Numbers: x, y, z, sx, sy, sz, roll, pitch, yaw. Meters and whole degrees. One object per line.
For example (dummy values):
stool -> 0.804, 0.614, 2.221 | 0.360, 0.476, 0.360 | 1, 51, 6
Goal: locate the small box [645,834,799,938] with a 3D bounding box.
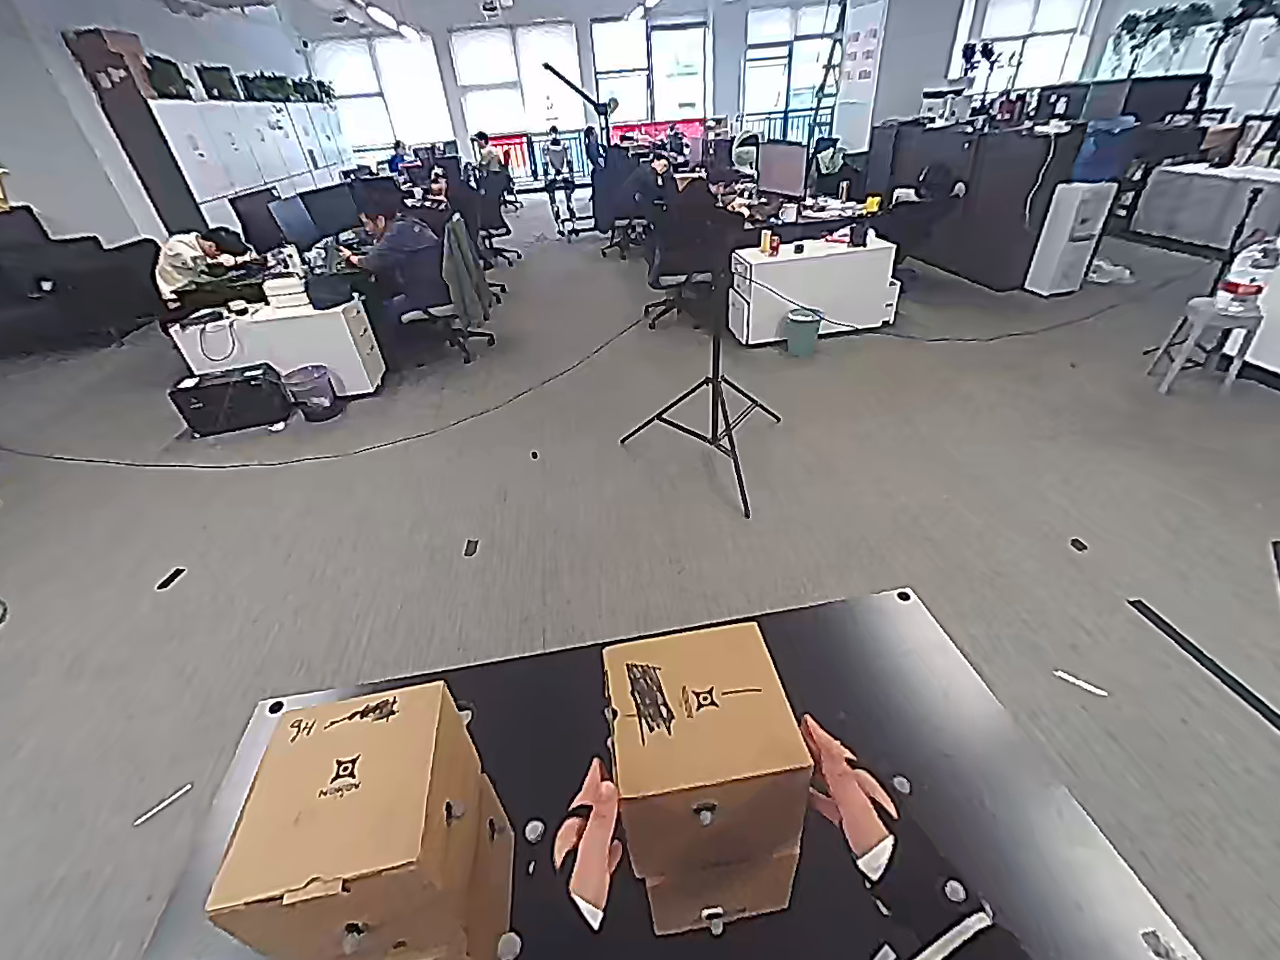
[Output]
small box -> 0.080, 0.421, 0.673 | 0.168, 0.176, 0.179 | -10, 36, -5

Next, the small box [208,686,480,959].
small box -> -0.263, 0.342, 0.537 | 0.168, 0.176, 0.179 | -9, 36, -6

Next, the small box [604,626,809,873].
small box -> 0.063, 0.286, 0.579 | 0.179, 0.176, 0.168 | -8, 35, -4

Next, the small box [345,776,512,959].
small box -> -0.248, 0.481, 0.623 | 0.168, 0.176, 0.179 | -8, 35, -4
